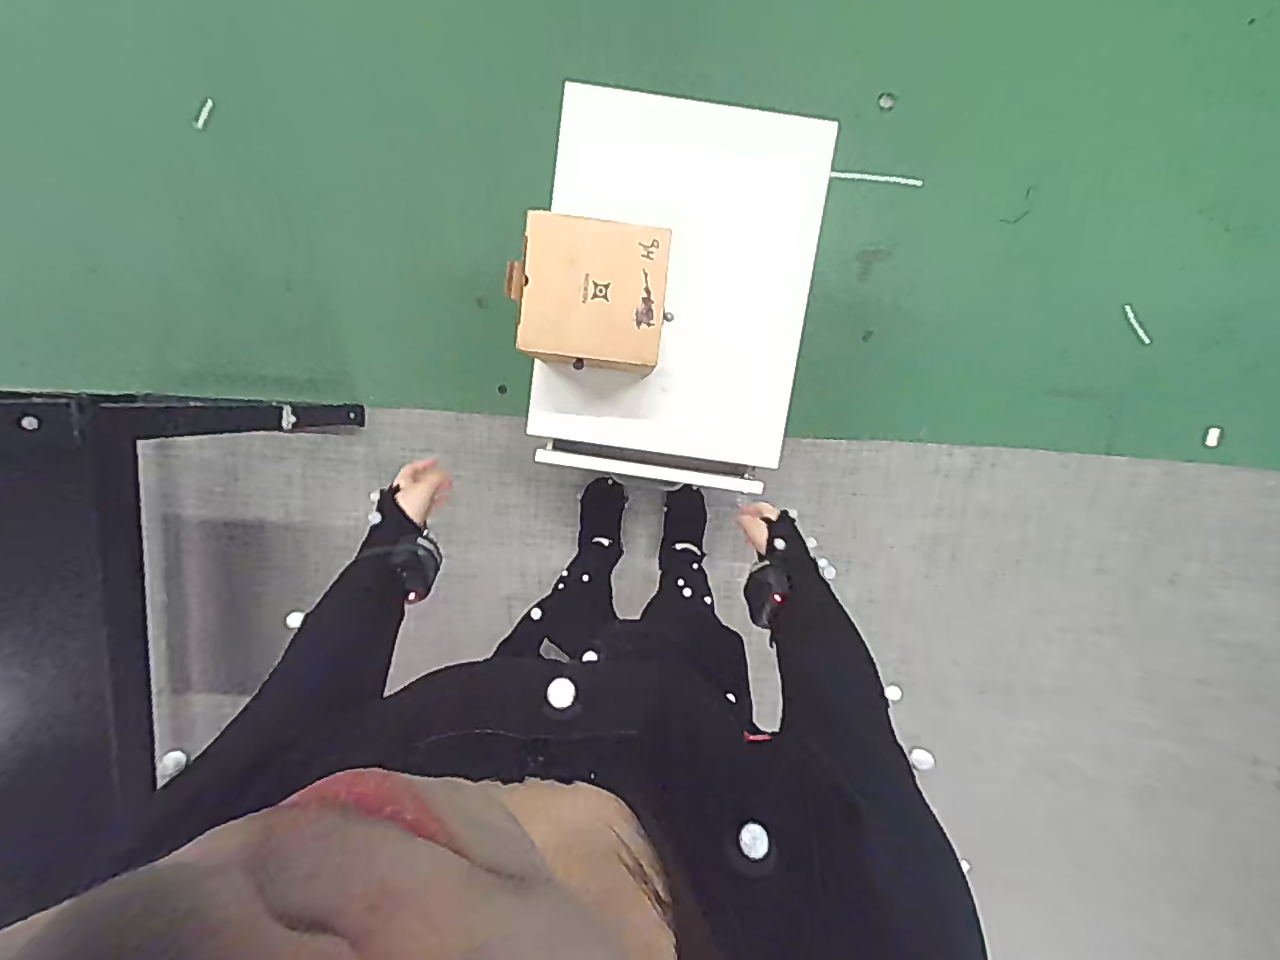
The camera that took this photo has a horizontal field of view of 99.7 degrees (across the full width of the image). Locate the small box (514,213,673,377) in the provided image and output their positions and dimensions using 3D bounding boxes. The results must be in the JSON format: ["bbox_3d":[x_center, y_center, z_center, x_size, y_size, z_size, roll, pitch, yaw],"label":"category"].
[{"bbox_3d":[-0.056,-0.232,0.721,0.179,0.176,0.168,7,97,-1],"label":"small box"}]
